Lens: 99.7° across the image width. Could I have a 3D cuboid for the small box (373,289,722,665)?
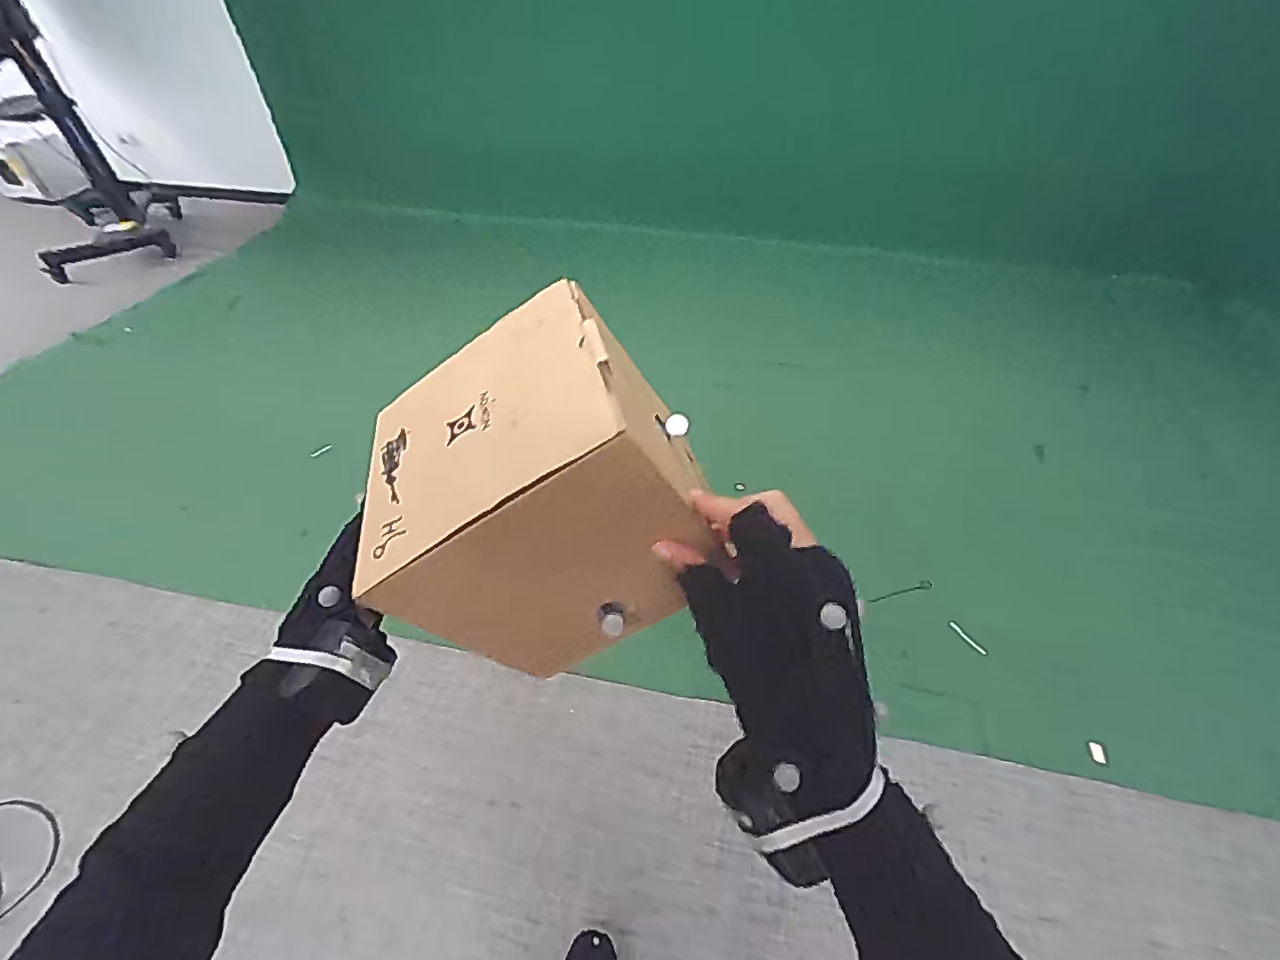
[{"bbox_3d":[-0.057,0.006,0.394,0.179,0.176,0.168,-31,46,11],"label":"small box"}]
